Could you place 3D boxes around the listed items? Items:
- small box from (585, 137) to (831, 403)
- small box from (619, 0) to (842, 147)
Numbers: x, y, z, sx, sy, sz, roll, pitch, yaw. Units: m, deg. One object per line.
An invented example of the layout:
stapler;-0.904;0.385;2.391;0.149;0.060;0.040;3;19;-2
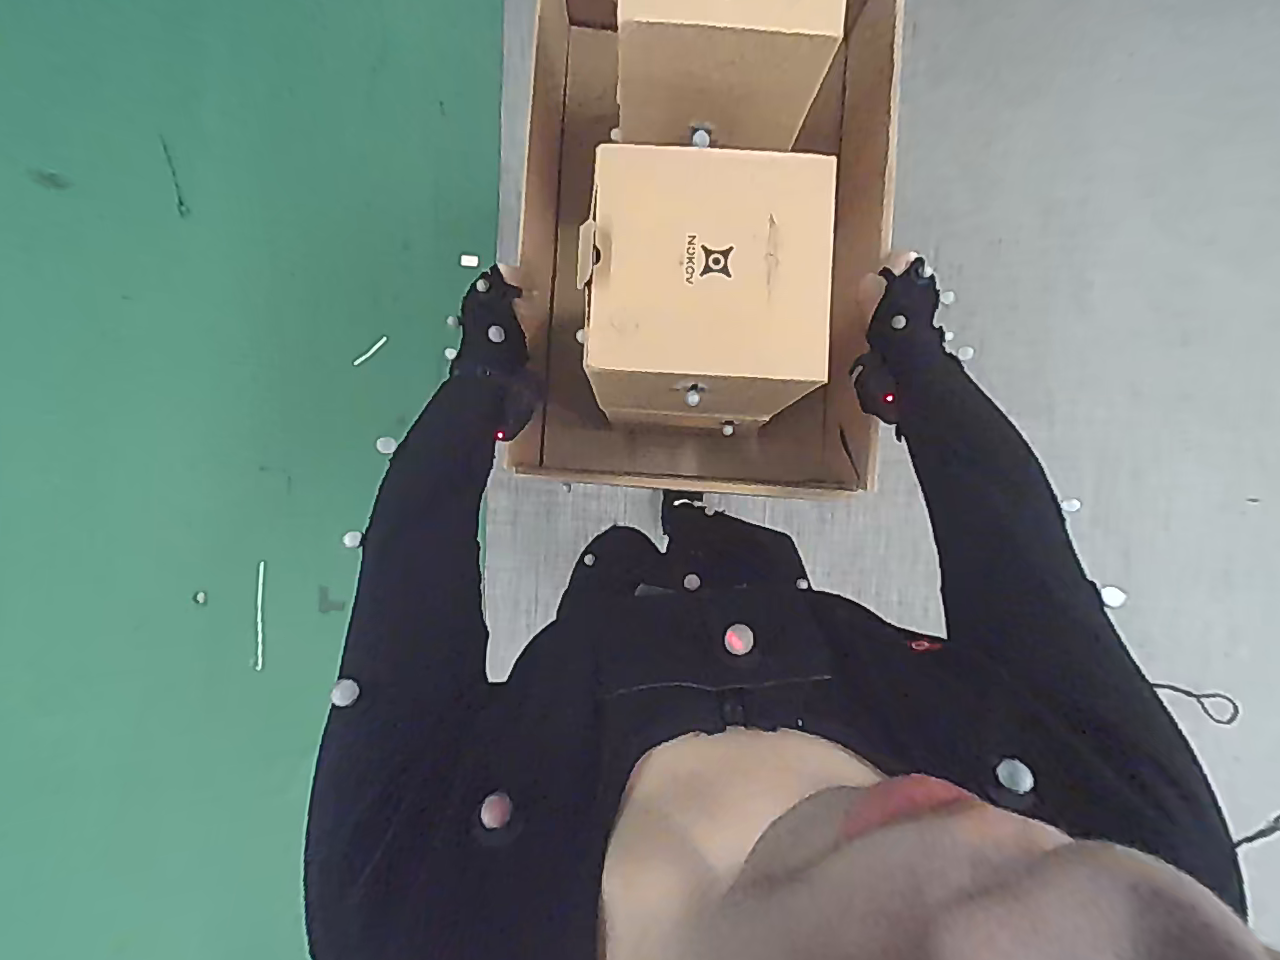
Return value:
small box;0.049;-0.164;0.476;0.179;0.176;0.168;3;89;-2
small box;0.070;-0.418;0.472;0.168;0.176;0.179;5;92;-1
